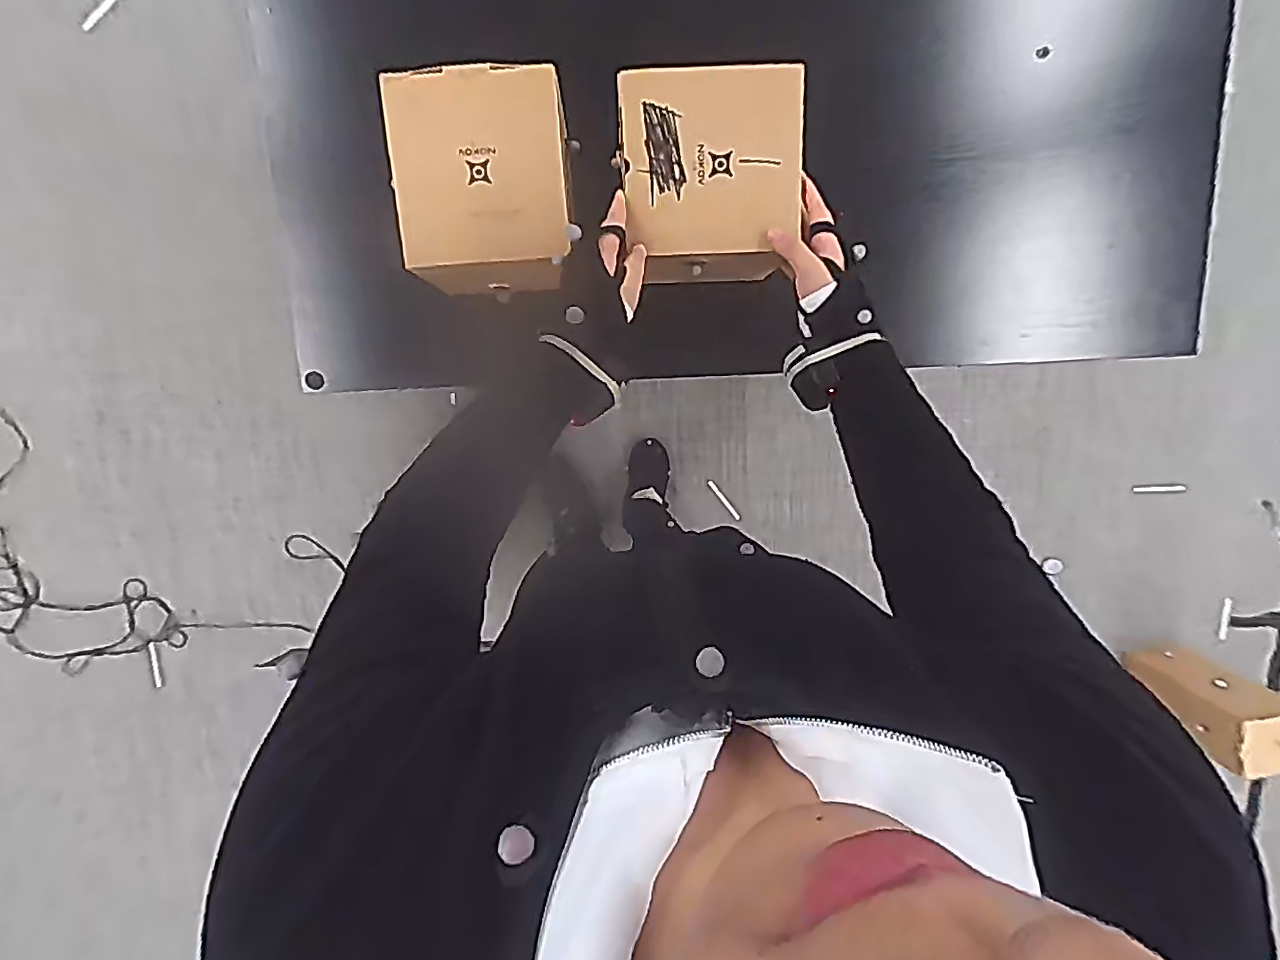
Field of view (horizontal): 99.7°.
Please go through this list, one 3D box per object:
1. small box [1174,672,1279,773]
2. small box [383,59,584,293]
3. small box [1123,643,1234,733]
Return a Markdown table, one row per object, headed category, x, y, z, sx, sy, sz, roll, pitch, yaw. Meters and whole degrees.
| category | x | y | z | sx | sy | sz | roll | pitch | yaw |
| --- | --- | --- | --- | --- | --- | --- | --- | --- | --- |
| small box | 1.570 | 0.632 | 1.425 | 0.179 | 0.176 | 0.168 | -10 | 100 | -1 |
| small box | -0.156 | -0.316 | 0.597 | 0.168 | 0.176 | 0.179 | -6 | 101 | -1 |
| small box | 1.570 | 0.606 | 1.586 | 0.168 | 0.176 | 0.179 | -9 | 100 | -2 |
